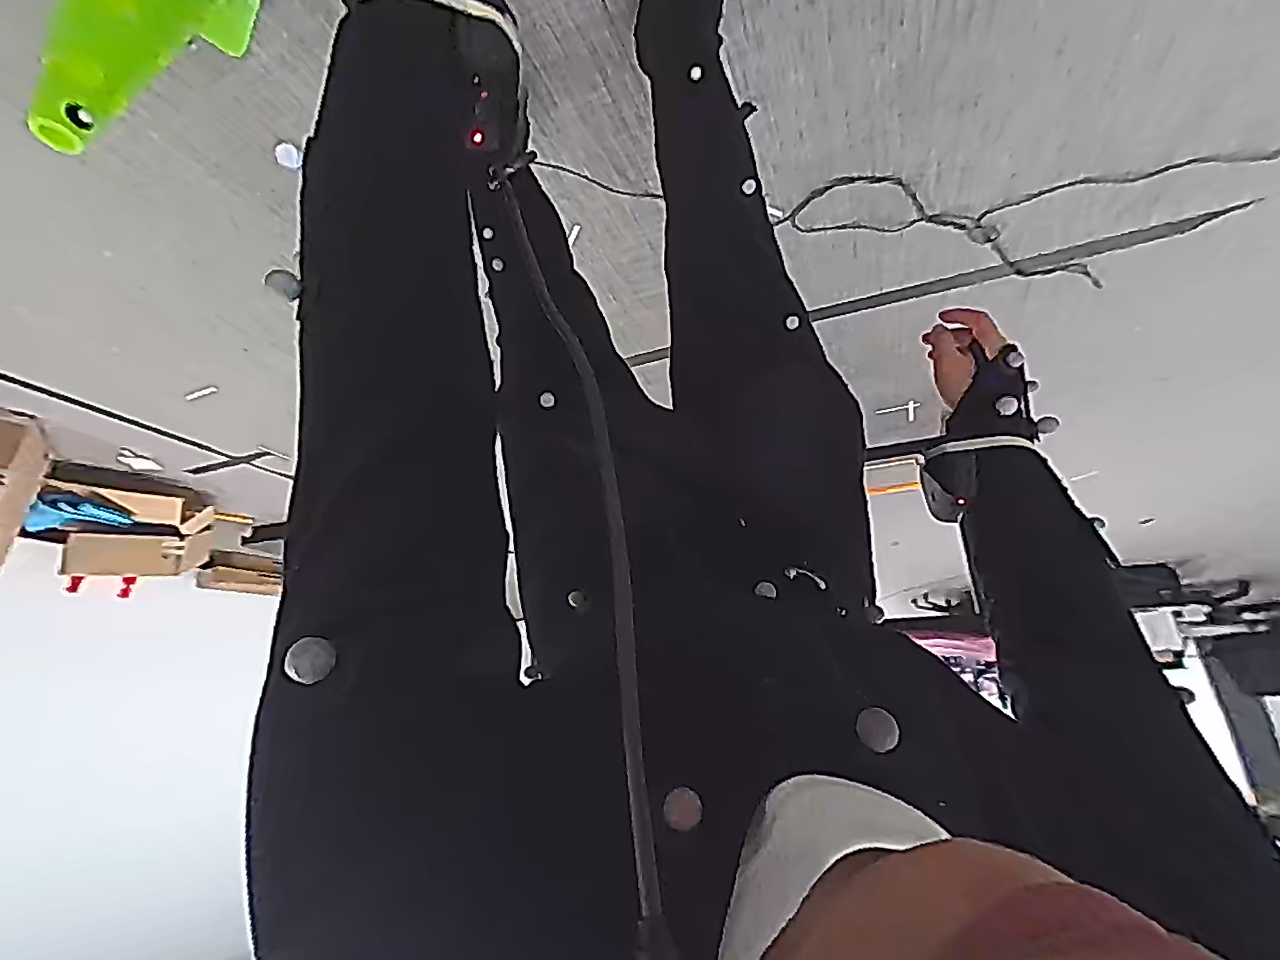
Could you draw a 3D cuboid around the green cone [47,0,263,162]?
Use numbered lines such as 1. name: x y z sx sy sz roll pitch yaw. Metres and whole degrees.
1. green cone: -0.584 -0.508 0.610 0.202 0.368 0.200 18 153 -41
